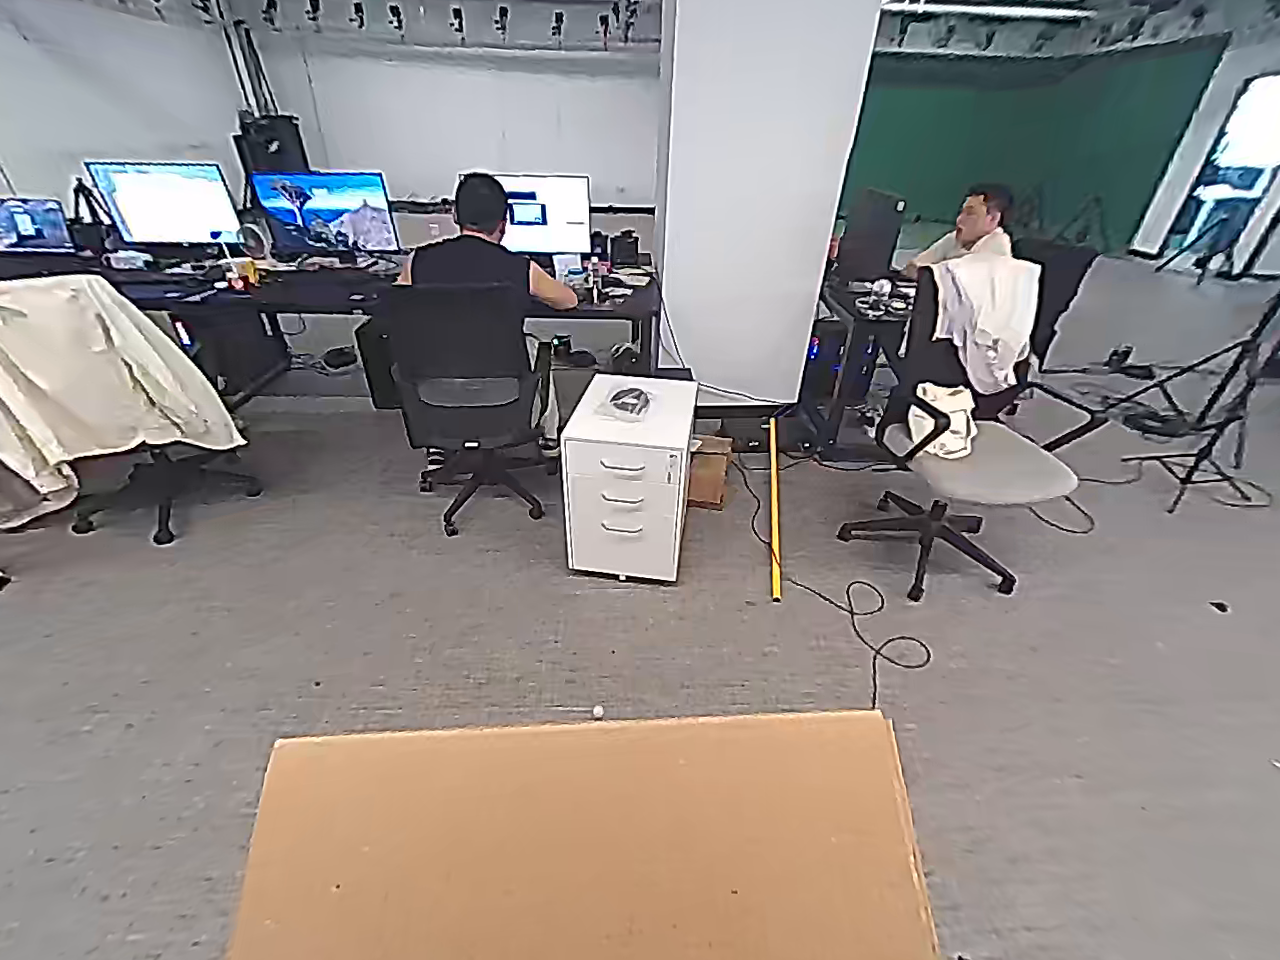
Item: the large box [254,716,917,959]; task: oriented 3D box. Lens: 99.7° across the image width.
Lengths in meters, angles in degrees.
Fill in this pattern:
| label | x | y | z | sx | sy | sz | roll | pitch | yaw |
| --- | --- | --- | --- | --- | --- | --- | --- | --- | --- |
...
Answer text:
| label | x | y | z | sx | sy | sz | roll | pitch | yaw |
| --- | --- | --- | --- | --- | --- | --- | --- | --- | --- |
| large box | -0.030 | 0.377 | 0.446 | 0.408 | 0.320 | 0.320 | -2 | 65 | -1 |
